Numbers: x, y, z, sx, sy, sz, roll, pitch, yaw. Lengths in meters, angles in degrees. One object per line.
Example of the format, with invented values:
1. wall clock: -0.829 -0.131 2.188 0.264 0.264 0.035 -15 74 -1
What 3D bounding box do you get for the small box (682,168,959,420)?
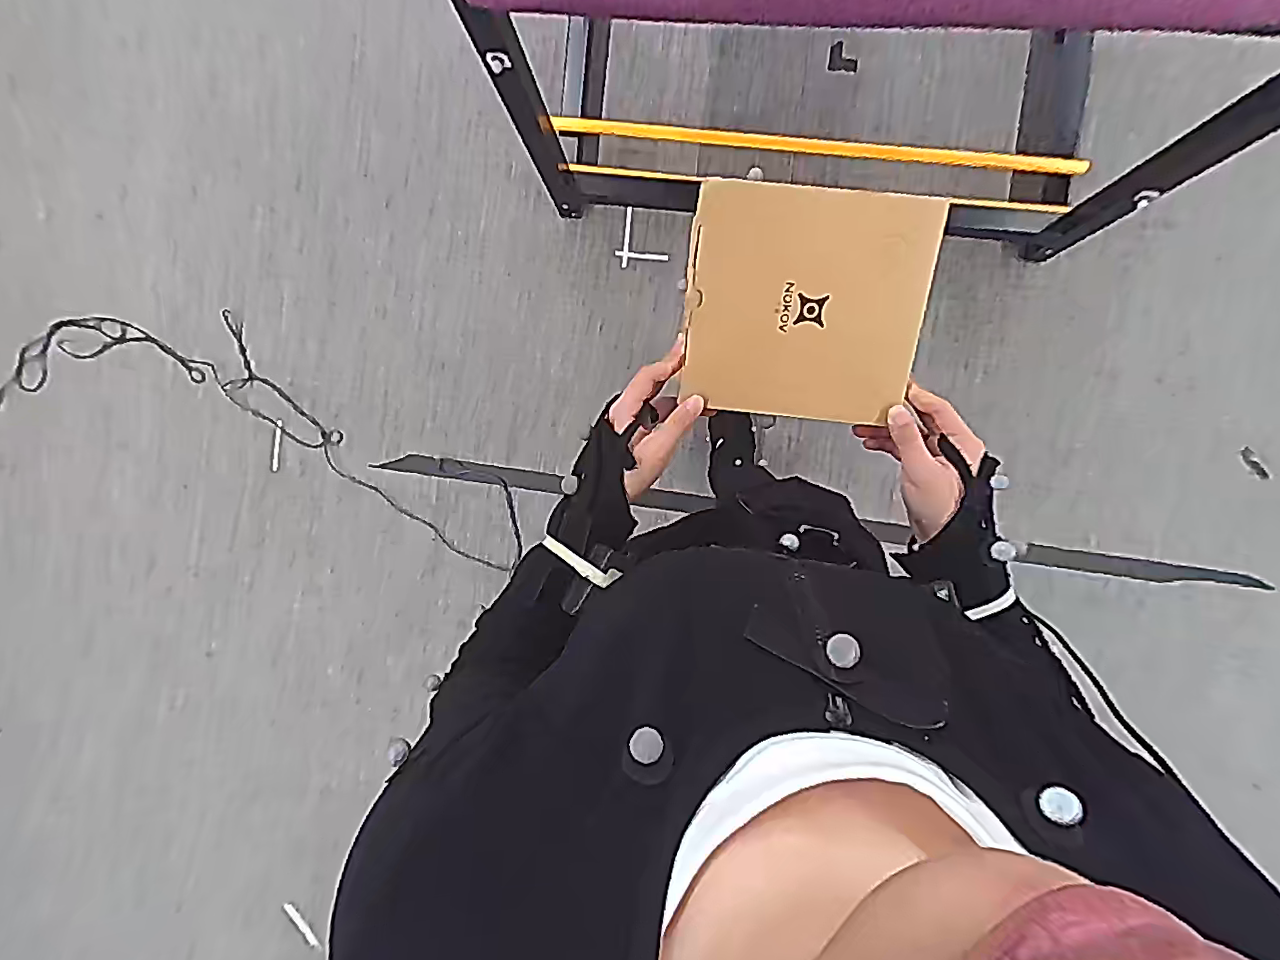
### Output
1. small box: 0.132 -0.156 0.474 0.179 0.176 0.168 6 107 3
